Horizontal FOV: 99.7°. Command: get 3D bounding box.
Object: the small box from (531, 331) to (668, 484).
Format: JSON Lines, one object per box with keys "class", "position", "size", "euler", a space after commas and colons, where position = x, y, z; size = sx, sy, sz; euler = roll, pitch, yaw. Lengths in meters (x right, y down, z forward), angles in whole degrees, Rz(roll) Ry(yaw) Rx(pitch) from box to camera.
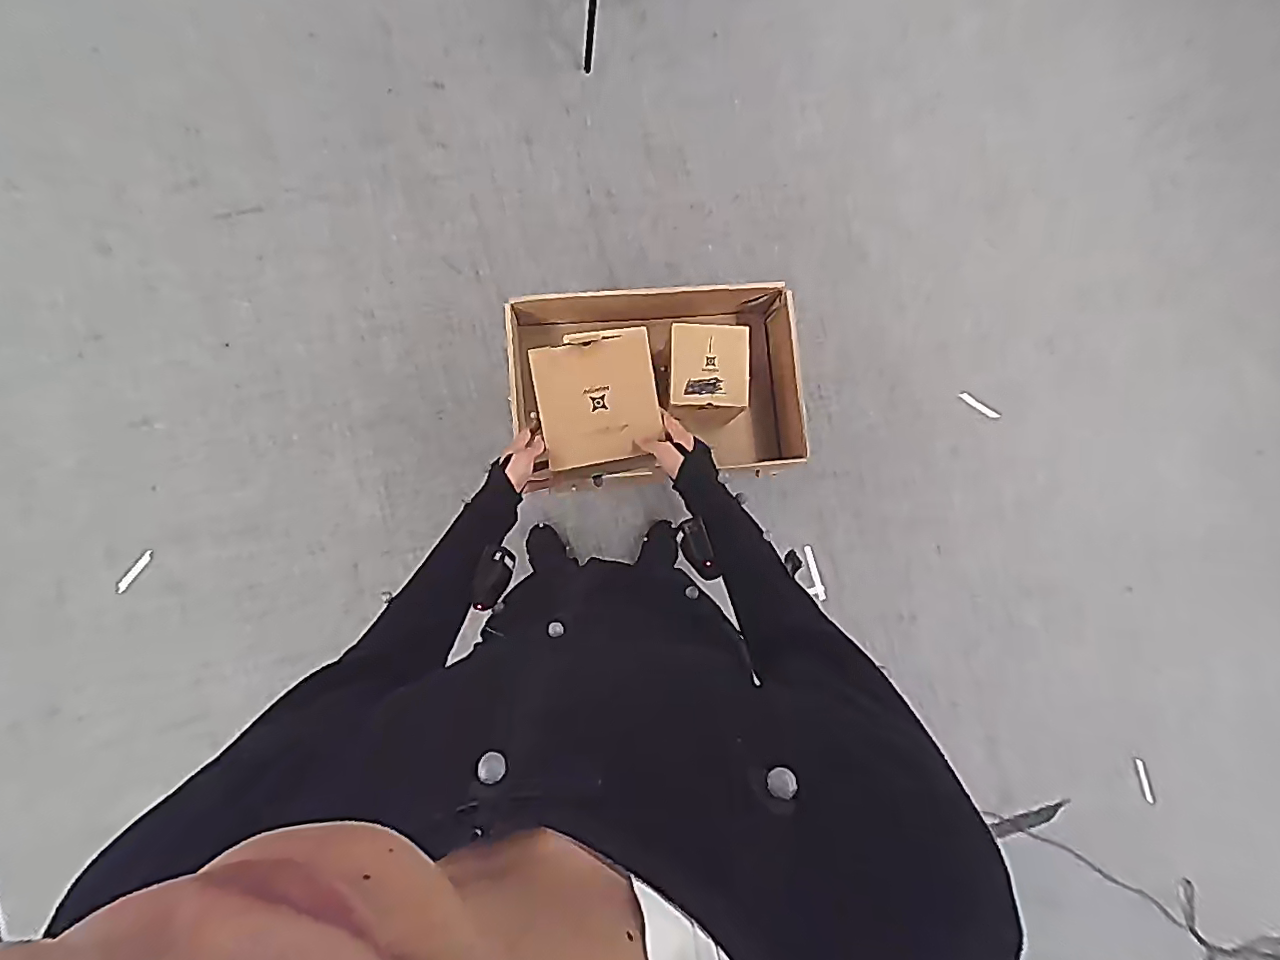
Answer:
{"class": "small box", "position": [-0.064, -0.101, 0.819], "size": [0.168, 0.176, 0.179], "euler": [-11, 84, -6]}
